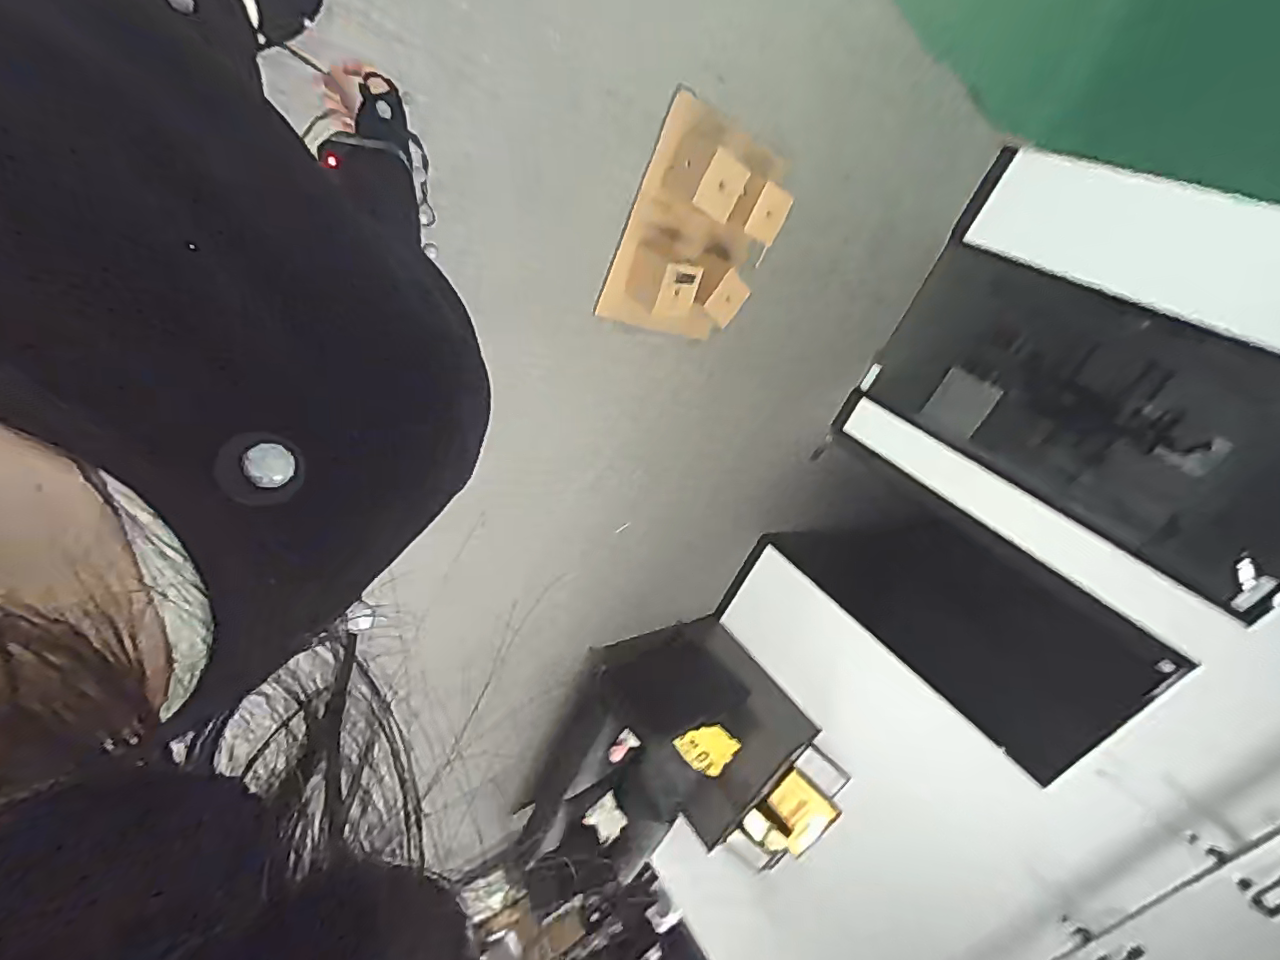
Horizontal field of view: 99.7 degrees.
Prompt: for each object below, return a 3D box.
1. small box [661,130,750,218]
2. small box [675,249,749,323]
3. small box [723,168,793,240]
[{"bbox_3d":[0.198,-0.950,1.673,0.179,0.176,0.168,3,124,-48],"label":"small box"},{"bbox_3d":[0.264,-0.716,1.984,0.168,0.176,0.179,-52,146,11],"label":"small box"},{"bbox_3d":[0.384,-0.959,1.861,0.179,0.176,0.168,-2,128,-46],"label":"small box"}]
